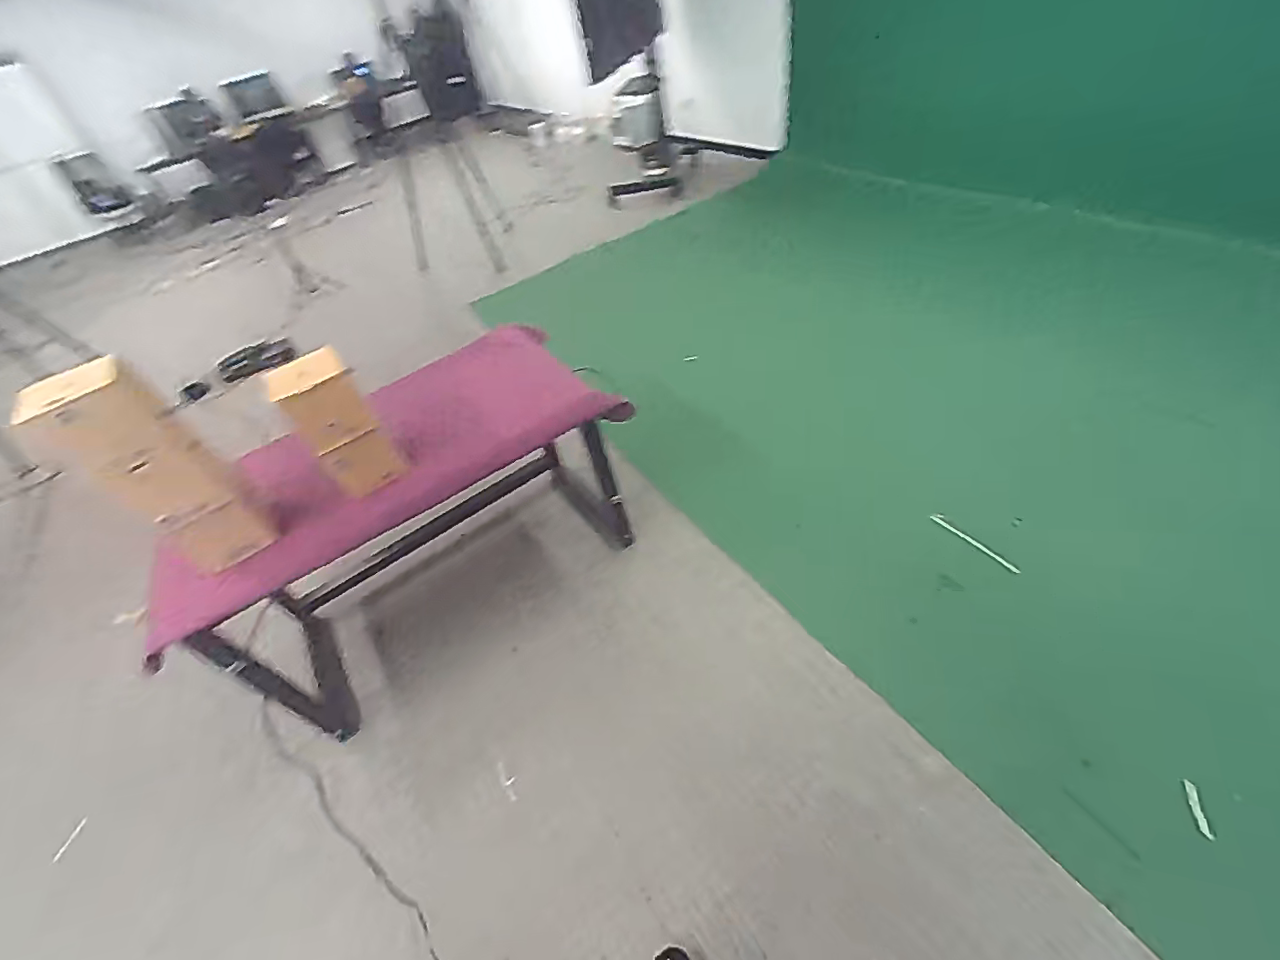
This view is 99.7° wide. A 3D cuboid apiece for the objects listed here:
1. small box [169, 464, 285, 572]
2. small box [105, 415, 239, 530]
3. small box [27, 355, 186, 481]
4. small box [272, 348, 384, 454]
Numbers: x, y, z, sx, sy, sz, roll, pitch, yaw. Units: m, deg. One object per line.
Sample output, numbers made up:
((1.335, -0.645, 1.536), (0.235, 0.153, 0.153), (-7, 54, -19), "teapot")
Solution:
((-1.031, 0.097, 1.355), (0.168, 0.176, 0.179), (-33, 48, -17), "small box")
((-1.057, -0.011, 1.235), (0.168, 0.176, 0.179), (-34, 46, -17), "small box")
((-1.092, -0.128, 1.126), (0.168, 0.176, 0.179), (-34, 47, -17), "small box")
((-0.770, -0.194, 1.340), (0.168, 0.176, 0.179), (-33, 47, -17), "small box")
